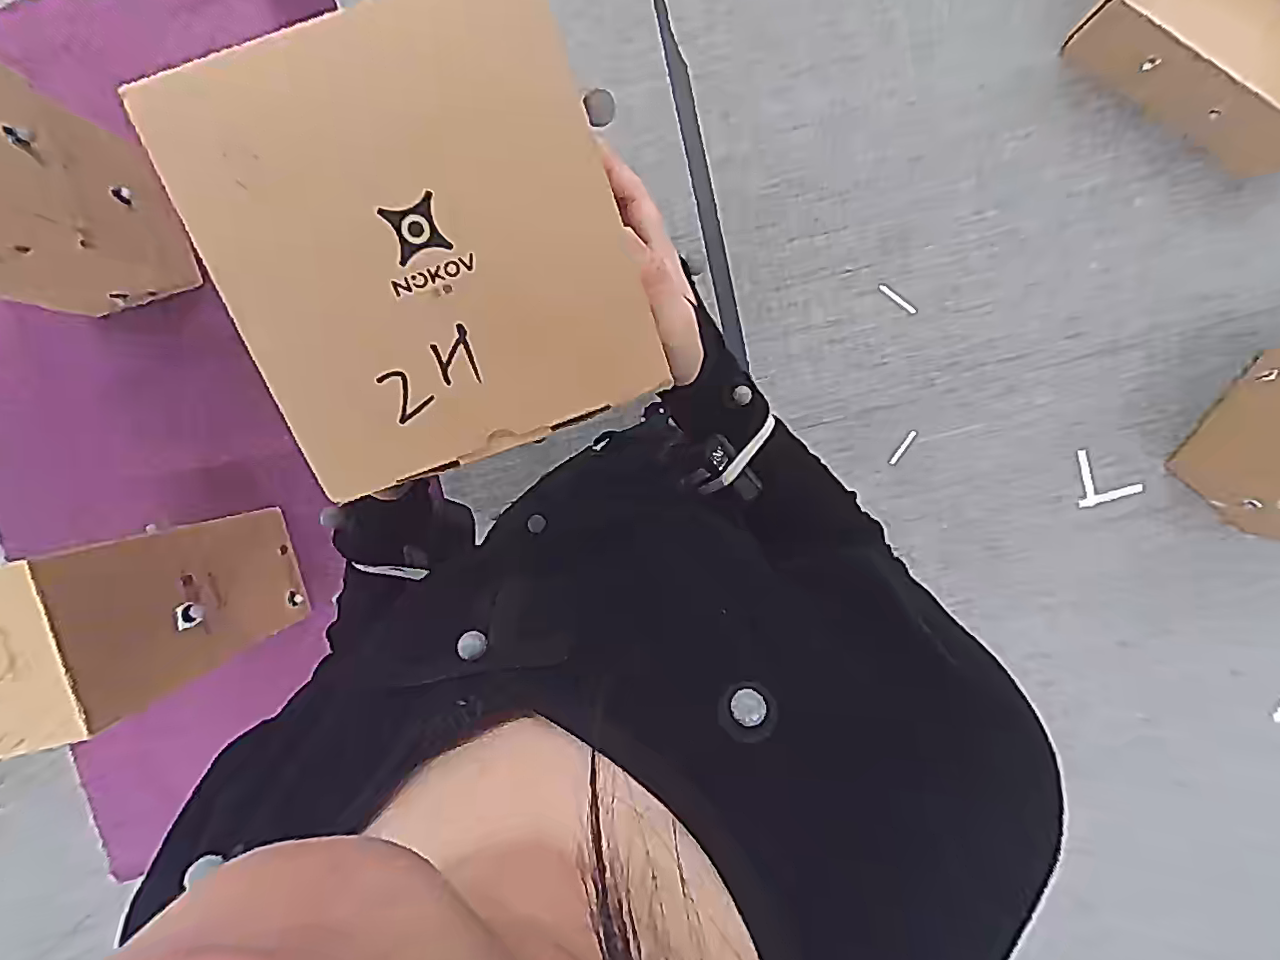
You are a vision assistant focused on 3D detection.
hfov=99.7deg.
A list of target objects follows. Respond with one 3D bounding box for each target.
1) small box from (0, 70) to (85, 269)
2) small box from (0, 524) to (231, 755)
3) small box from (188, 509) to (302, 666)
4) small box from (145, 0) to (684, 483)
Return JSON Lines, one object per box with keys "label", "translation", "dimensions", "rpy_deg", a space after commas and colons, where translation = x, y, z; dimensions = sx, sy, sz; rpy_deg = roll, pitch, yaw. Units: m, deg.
{"label": "small box", "translation": [-0.695, -0.313, 0.499], "dimensions": [0.168, 0.176, 0.179], "rpy_deg": [-18, 95, 3]}
{"label": "small box", "translation": [-0.572, 0.153, 0.541], "dimensions": [0.179, 0.176, 0.168], "rpy_deg": [-14, 96, 1]}
{"label": "small box", "translation": [-0.579, 0.143, 0.703], "dimensions": [0.179, 0.176, 0.168], "rpy_deg": [-14, 95, 3]}
{"label": "small box", "translation": [-0.089, -0.120, 0.299], "dimensions": [0.168, 0.176, 0.179], "rpy_deg": [-19, 105, 0]}
